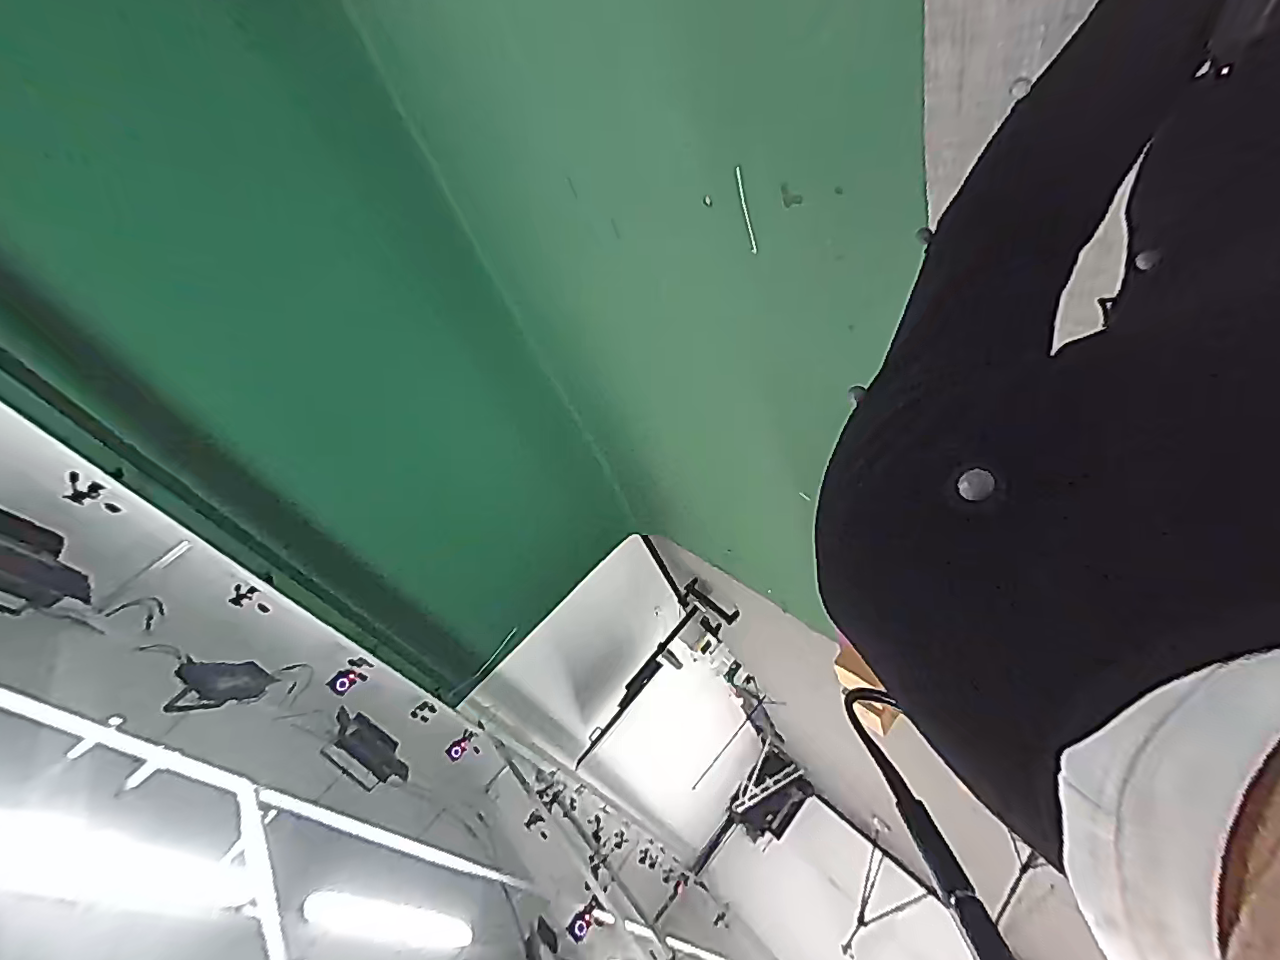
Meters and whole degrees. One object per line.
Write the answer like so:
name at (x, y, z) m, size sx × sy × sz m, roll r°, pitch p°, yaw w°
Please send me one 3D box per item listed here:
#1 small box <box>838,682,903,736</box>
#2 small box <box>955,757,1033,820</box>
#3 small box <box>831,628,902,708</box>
small box at (0.900, 0.843, 2.097) m, size 0.168 × 0.176 × 0.179 m, roll 25°, pitch 152°, yaw 46°
small box at (1.171, 0.972, 1.789) m, size 0.168 × 0.176 × 0.179 m, roll 24°, pitch 151°, yaw 47°
small box at (0.807, 0.662, 1.912) m, size 0.168 × 0.176 × 0.179 m, roll 25°, pitch 153°, yaw 45°
